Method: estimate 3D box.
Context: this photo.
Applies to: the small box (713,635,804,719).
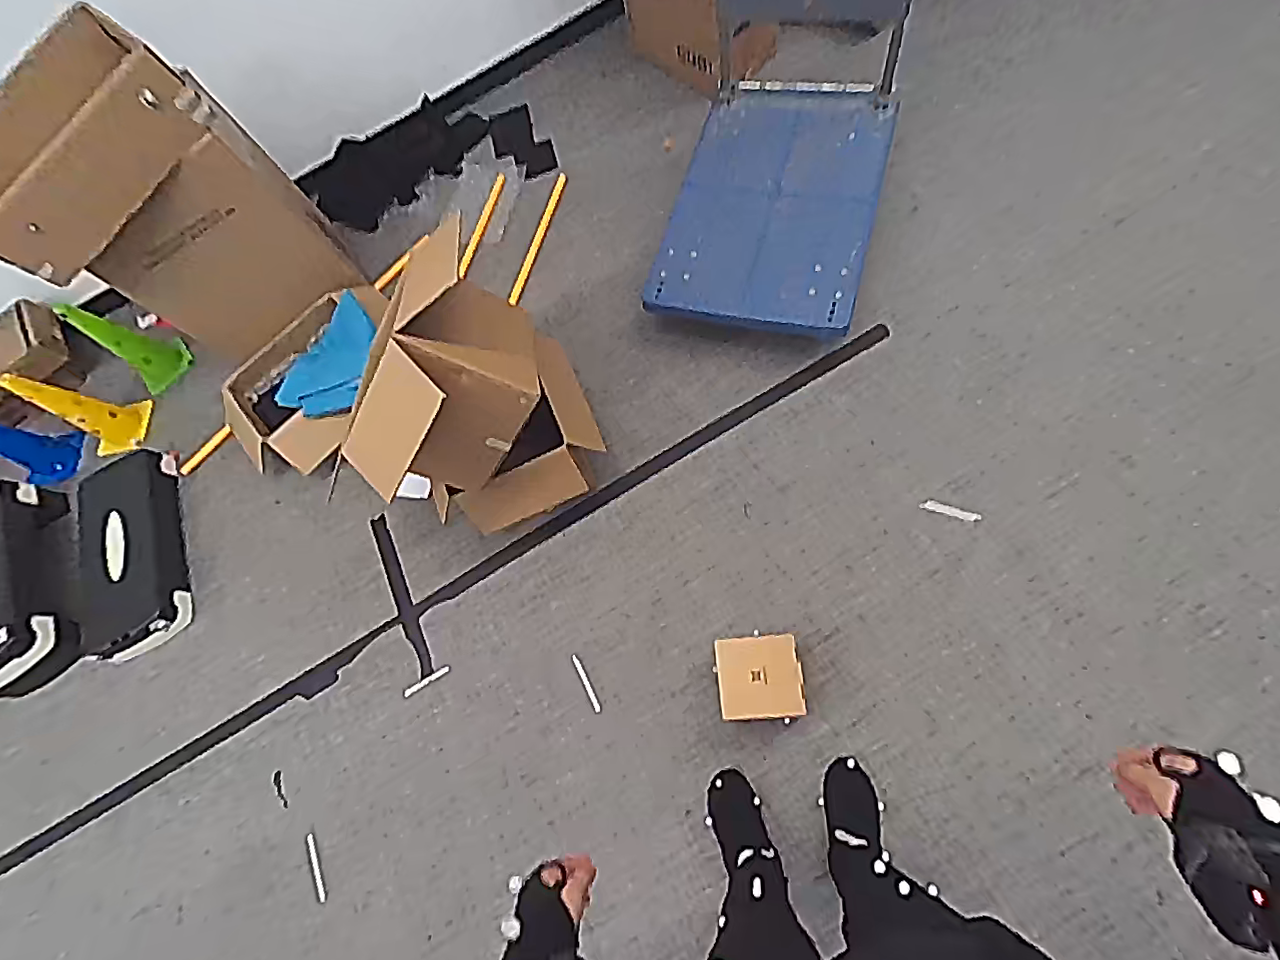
[{"bbox_3d":[0.266,0.452,1.229,0.179,0.176,0.168,-7,67,9],"label":"small box"}]
